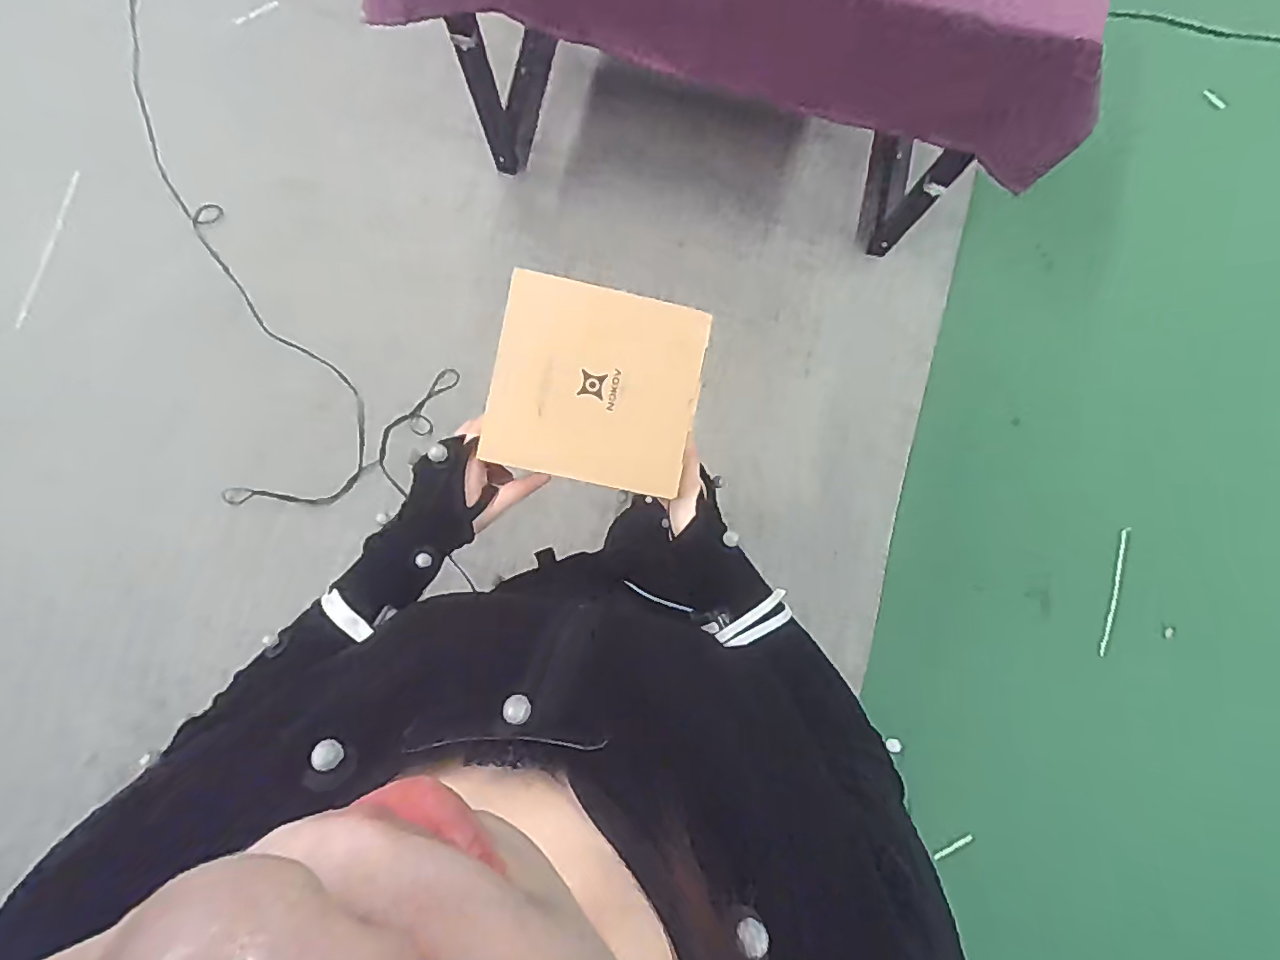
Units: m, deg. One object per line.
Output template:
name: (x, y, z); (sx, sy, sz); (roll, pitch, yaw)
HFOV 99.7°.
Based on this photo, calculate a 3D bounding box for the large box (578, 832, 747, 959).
large box: (0.027, 1.141, 1.272); (0.320, 0.320, 0.408); (15, 86, -1)
